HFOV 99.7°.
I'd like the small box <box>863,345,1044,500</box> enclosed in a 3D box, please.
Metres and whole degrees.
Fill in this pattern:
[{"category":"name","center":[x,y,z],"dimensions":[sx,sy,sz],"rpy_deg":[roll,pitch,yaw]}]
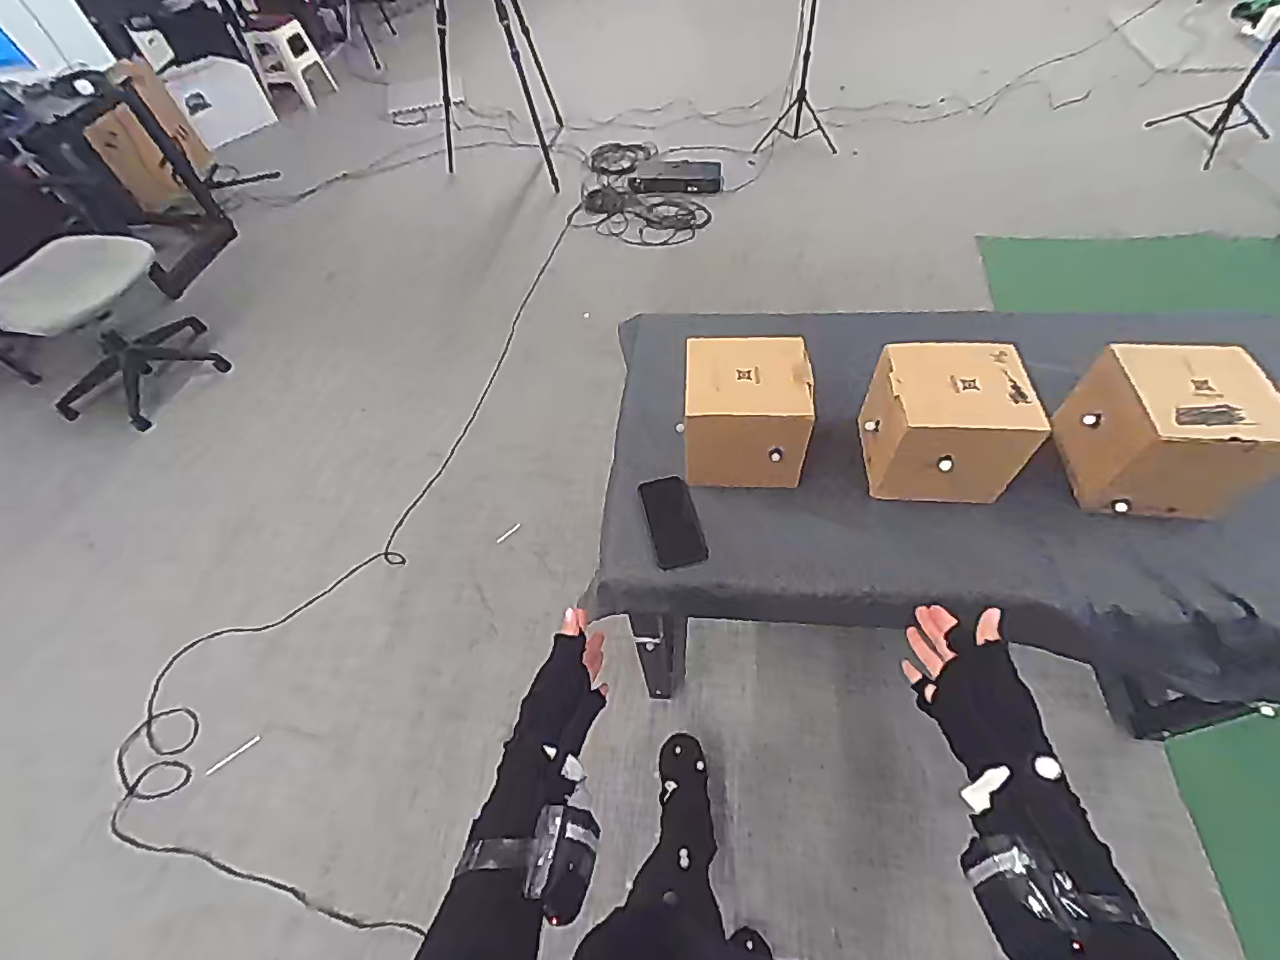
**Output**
[{"category":"small box","center":[0.444,-0.082,0.806],"dimensions":[0.179,0.176,0.168],"rpy_deg":[1,55,7]}]

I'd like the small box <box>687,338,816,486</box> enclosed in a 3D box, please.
[{"category":"small box","center":[0.164,-0.102,0.847],"dimensions":[0.179,0.176,0.168],"rpy_deg":[0,53,6]}]

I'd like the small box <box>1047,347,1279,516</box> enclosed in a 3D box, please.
[{"category":"small box","center":[0.728,-0.066,0.767],"dimensions":[0.168,0.176,0.179],"rpy_deg":[4,54,8]}]
